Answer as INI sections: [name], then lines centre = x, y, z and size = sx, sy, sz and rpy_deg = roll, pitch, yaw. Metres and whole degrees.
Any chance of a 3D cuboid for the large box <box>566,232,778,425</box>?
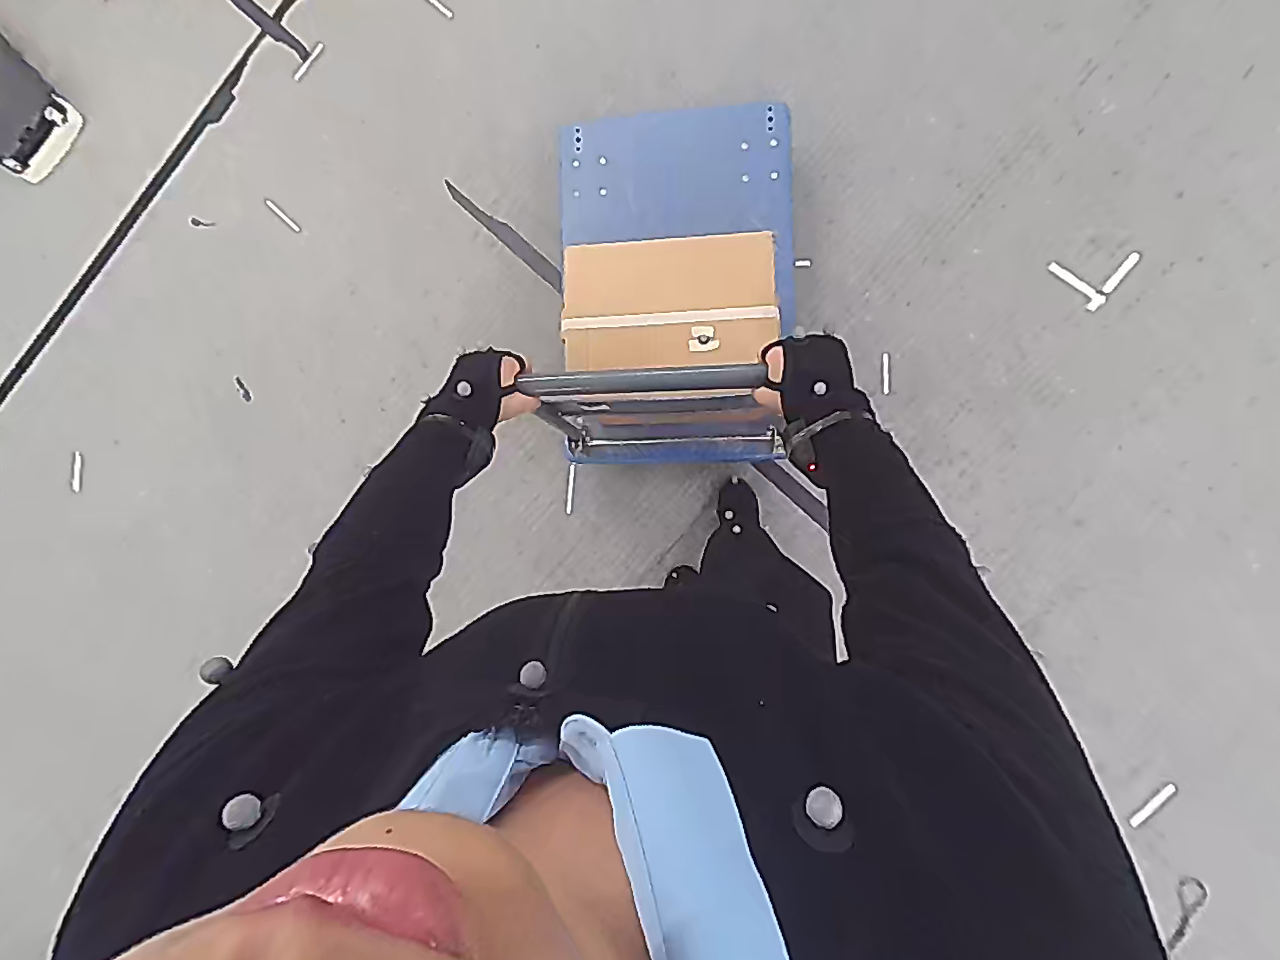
[large box]
centre = 0.071, -0.303, 1.182
size = 0.408, 0.320, 0.320
rpy_deg = -1, 88, 6
